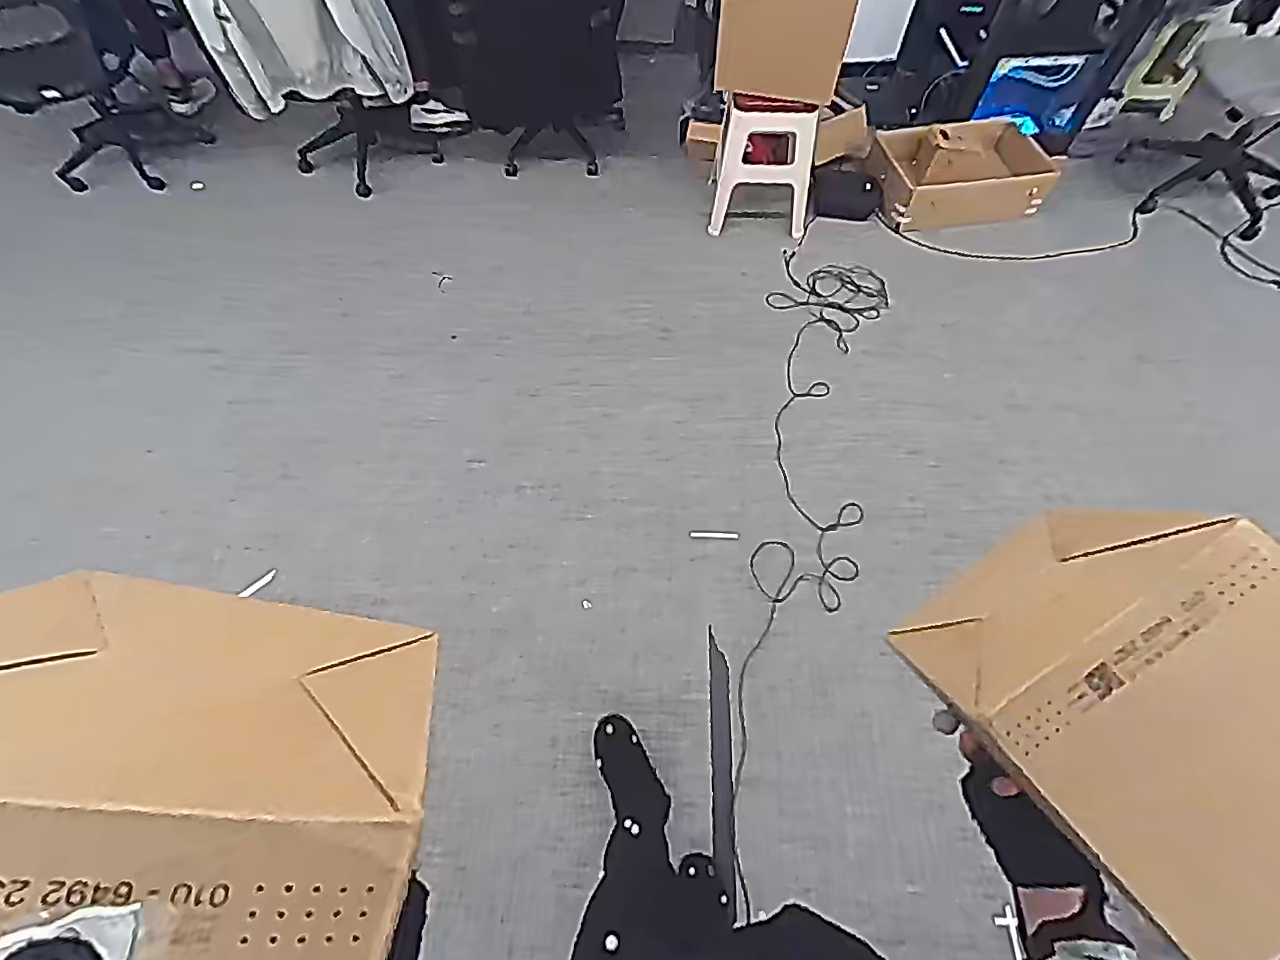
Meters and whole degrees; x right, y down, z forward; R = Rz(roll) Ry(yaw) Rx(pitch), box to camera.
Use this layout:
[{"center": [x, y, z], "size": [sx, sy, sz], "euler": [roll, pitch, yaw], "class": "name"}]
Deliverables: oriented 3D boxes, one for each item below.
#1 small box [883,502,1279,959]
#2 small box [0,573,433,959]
[{"center": [0.291, 0.126, 0.346], "size": [0.168, 0.179, 0.176], "euler": [-43, 83, 6], "class": "small box"}, {"center": [-0.183, 0.139, 0.201], "size": [0.168, 0.179, 0.176], "euler": [15, 86, -18], "class": "small box"}]
